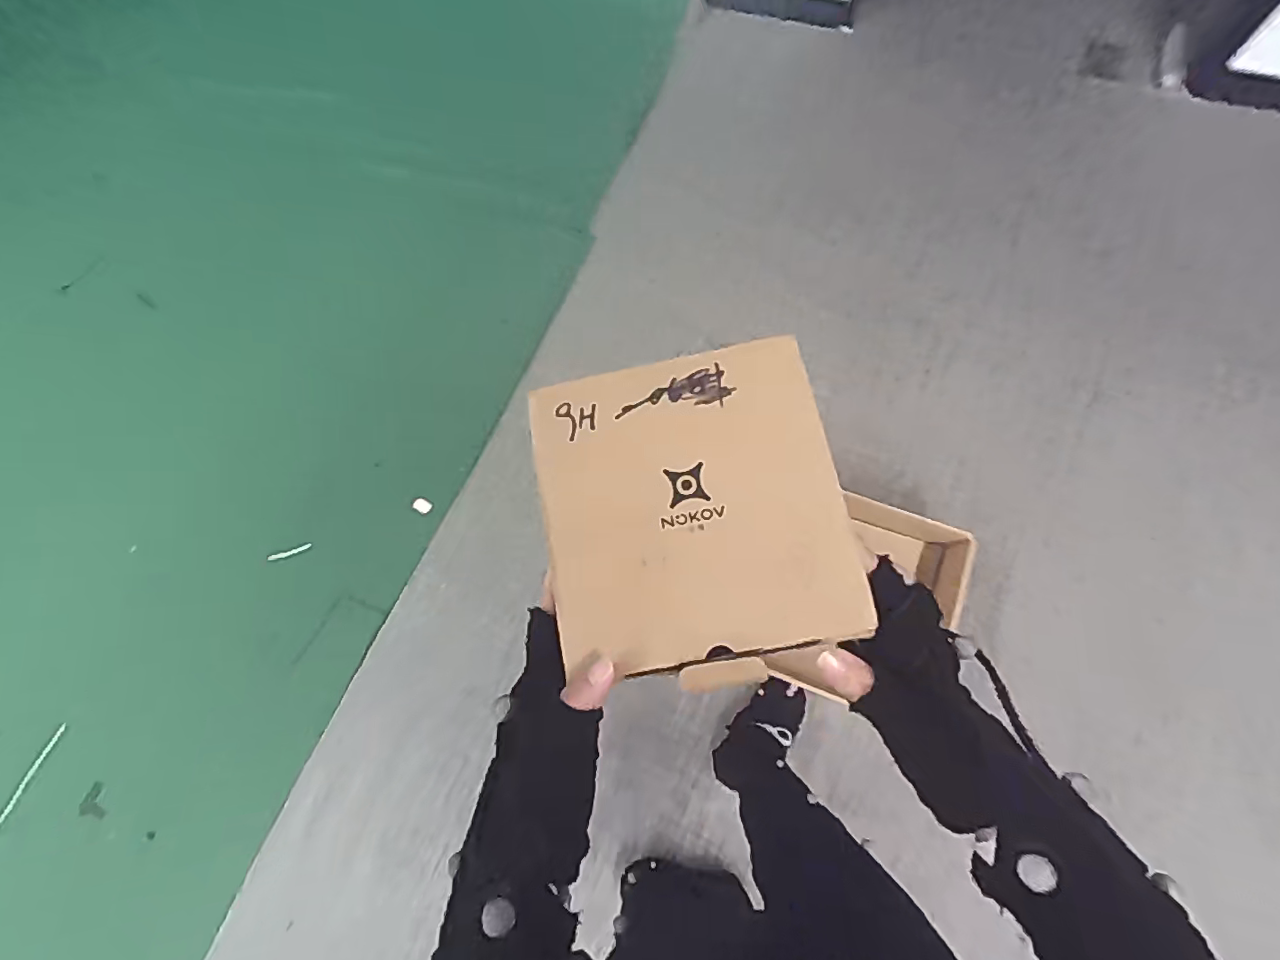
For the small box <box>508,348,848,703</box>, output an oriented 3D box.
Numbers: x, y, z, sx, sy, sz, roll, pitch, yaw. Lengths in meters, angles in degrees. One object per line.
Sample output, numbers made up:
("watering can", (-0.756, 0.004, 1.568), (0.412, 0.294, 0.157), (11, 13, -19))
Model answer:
("small box", (0.023, 0.037, 0.375), (0.168, 0.176, 0.179), (-11, 76, 3))
